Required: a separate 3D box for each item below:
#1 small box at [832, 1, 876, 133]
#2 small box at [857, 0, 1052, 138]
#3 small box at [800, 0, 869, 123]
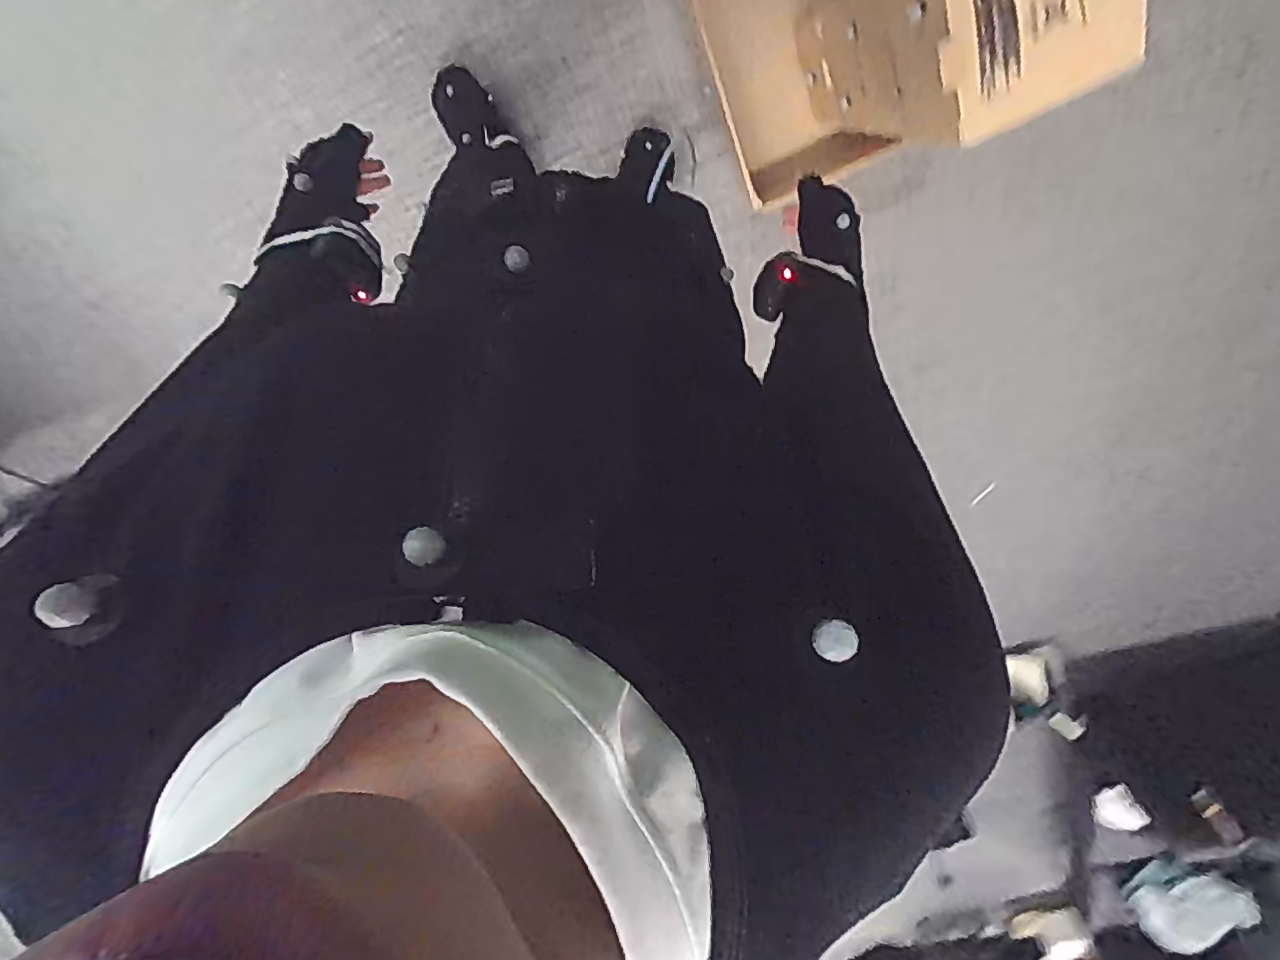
[{"bbox_3d":[0.413,-0.666,0.842,0.179,0.176,0.168,-19,122,13],"label":"small box"},{"bbox_3d":[0.405,-0.582,0.721,0.179,0.176,0.168,-19,123,12],"label":"small box"},{"bbox_3d":[0.406,-0.778,0.985,0.179,0.176,0.168,-23,120,15],"label":"small box"}]
